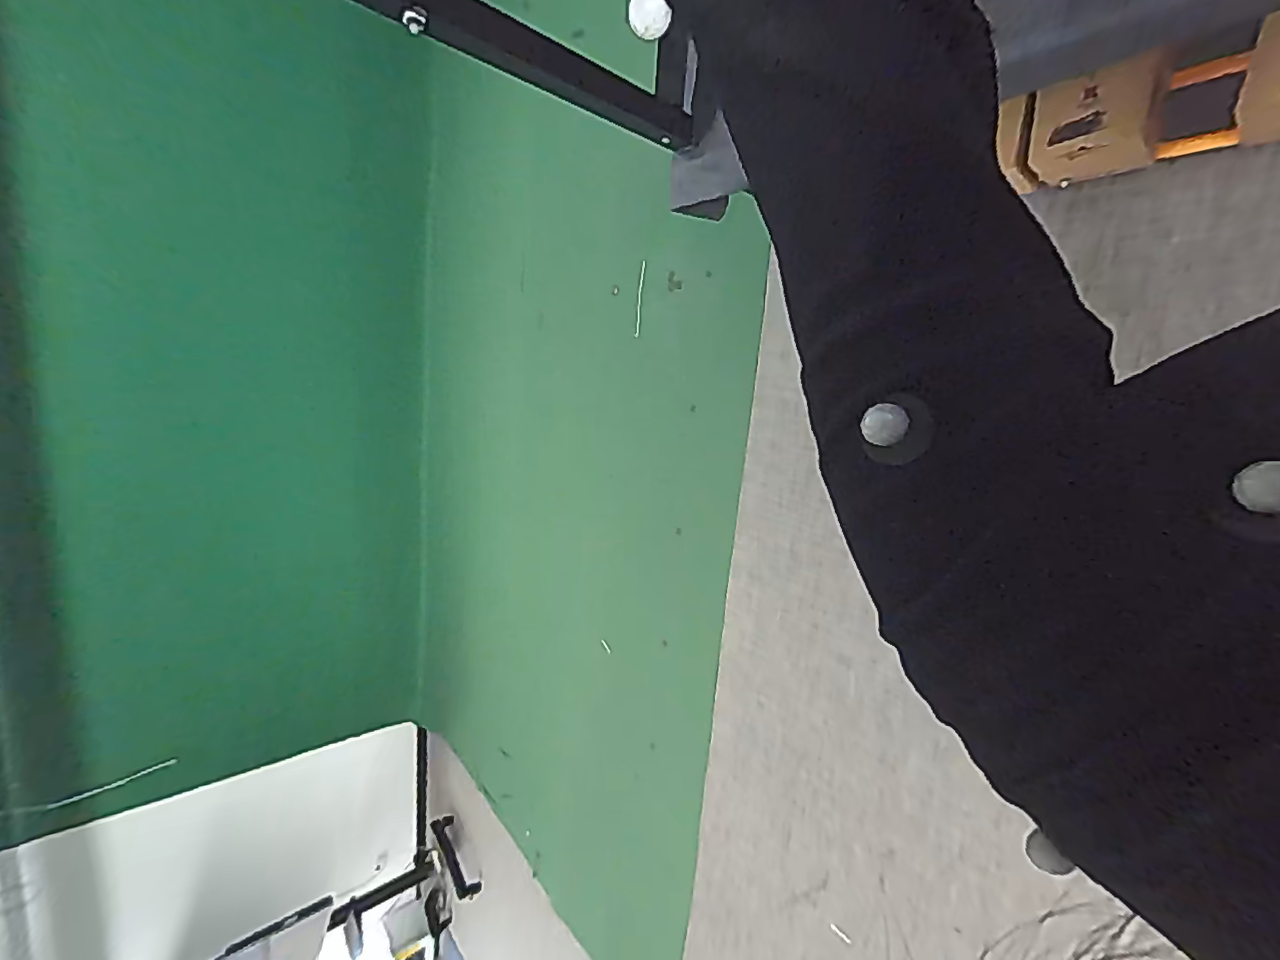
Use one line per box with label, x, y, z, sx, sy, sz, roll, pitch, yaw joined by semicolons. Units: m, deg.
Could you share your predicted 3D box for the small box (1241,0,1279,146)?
small box;1.053;-0.635;0.810;0.168;0.176;0.179;23;112;48
